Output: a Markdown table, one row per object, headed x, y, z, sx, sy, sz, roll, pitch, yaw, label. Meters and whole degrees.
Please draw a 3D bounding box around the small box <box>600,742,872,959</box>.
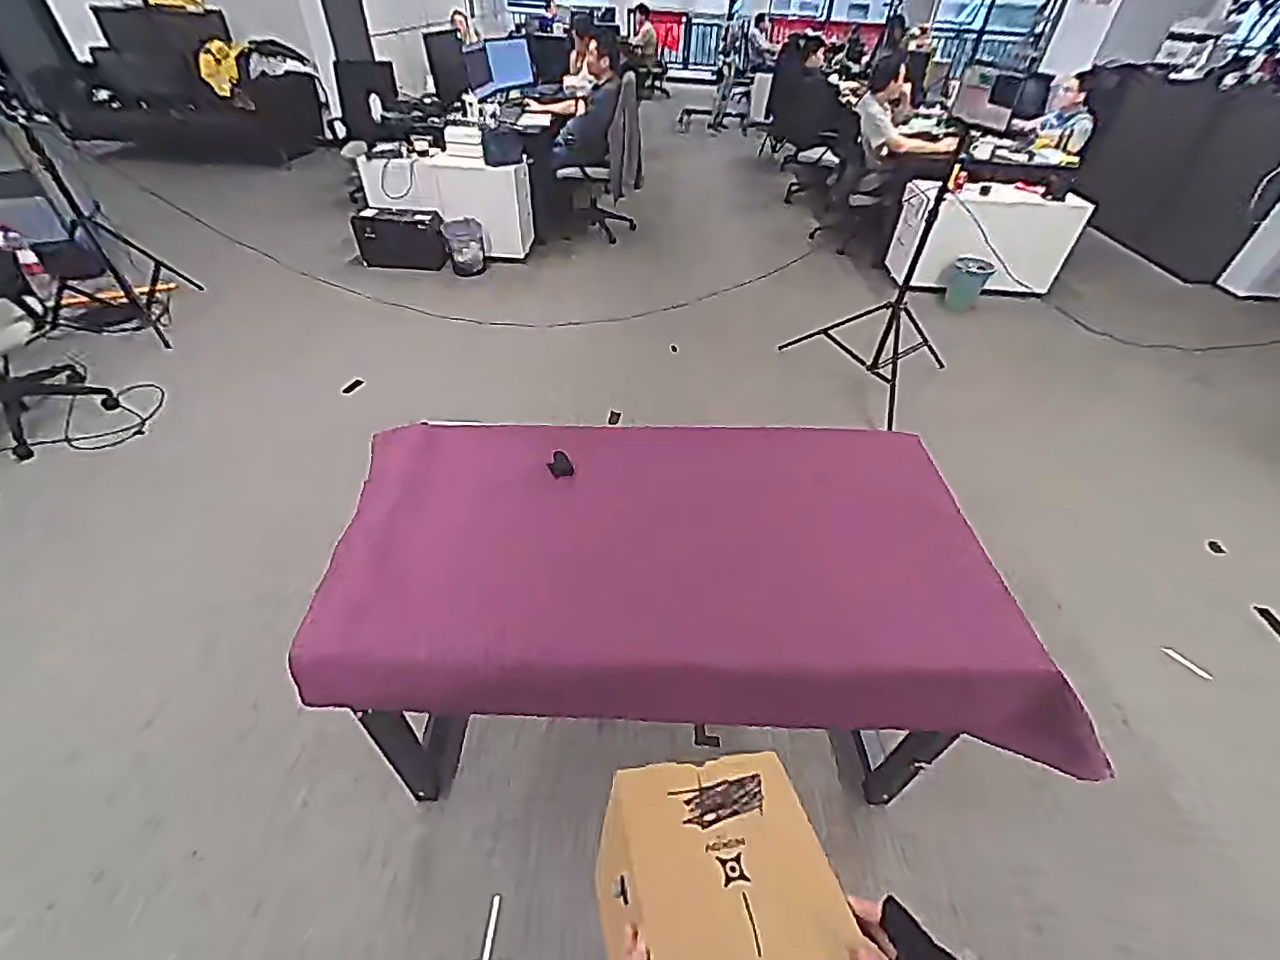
| x | y | z | sx | sy | sz | roll | pitch | yaw | label |
| --- | --- | --- | --- | --- | --- | --- | --- | --- | --- |
| 0.063 | 0.372 | 0.482 | 0.168 | 0.176 | 0.179 | 0 | 28 | -16 | small box |
